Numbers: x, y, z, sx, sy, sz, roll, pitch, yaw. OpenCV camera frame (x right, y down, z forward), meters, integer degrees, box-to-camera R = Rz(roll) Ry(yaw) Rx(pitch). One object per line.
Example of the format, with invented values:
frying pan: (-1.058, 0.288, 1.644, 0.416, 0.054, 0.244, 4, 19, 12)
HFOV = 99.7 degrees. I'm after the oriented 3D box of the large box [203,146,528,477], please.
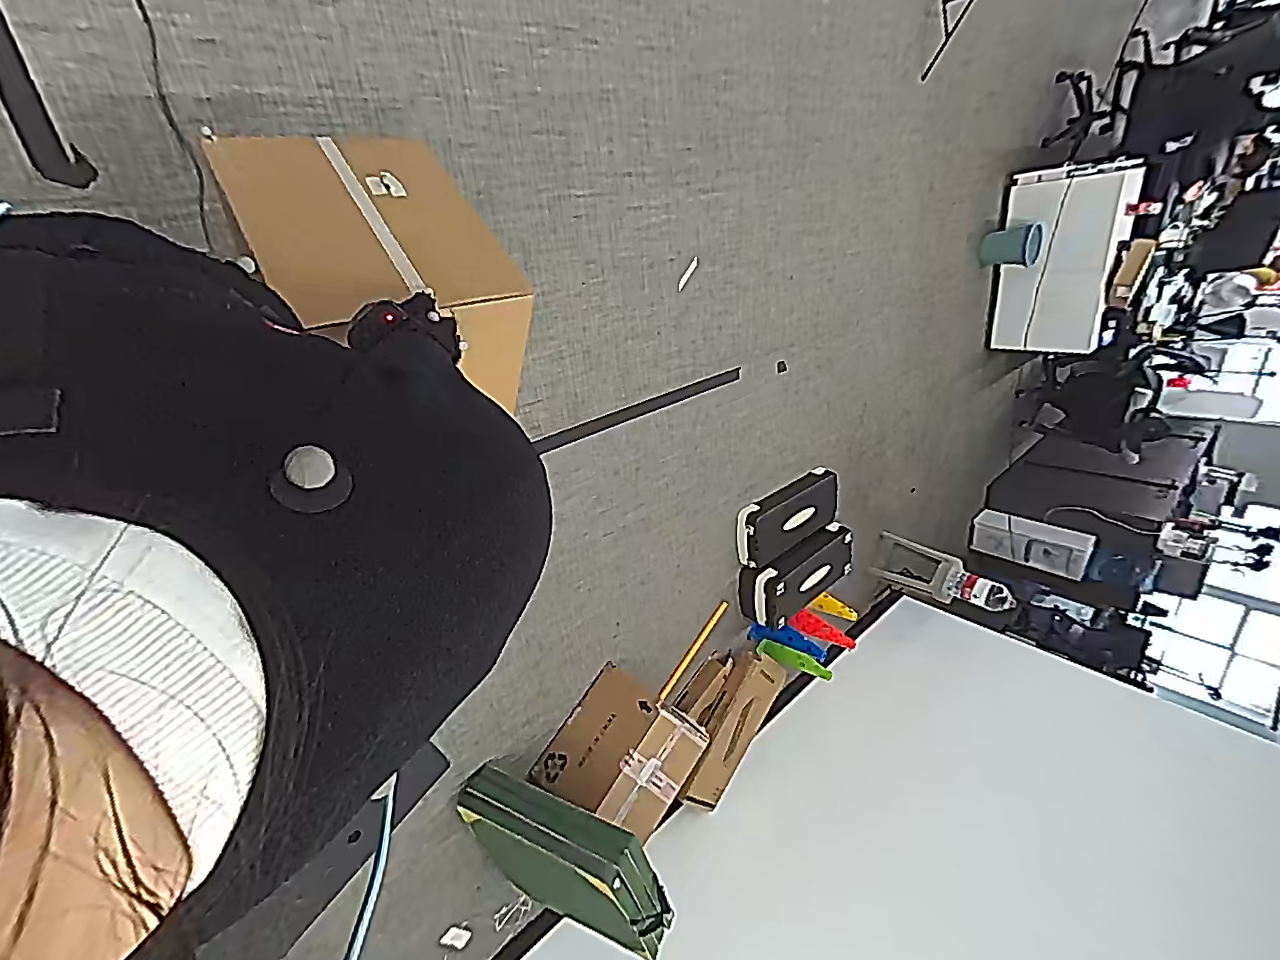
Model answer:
large box: (-0.431, -0.281, 0.892, 0.320, 0.408, 0.320, -23, 156, -33)
